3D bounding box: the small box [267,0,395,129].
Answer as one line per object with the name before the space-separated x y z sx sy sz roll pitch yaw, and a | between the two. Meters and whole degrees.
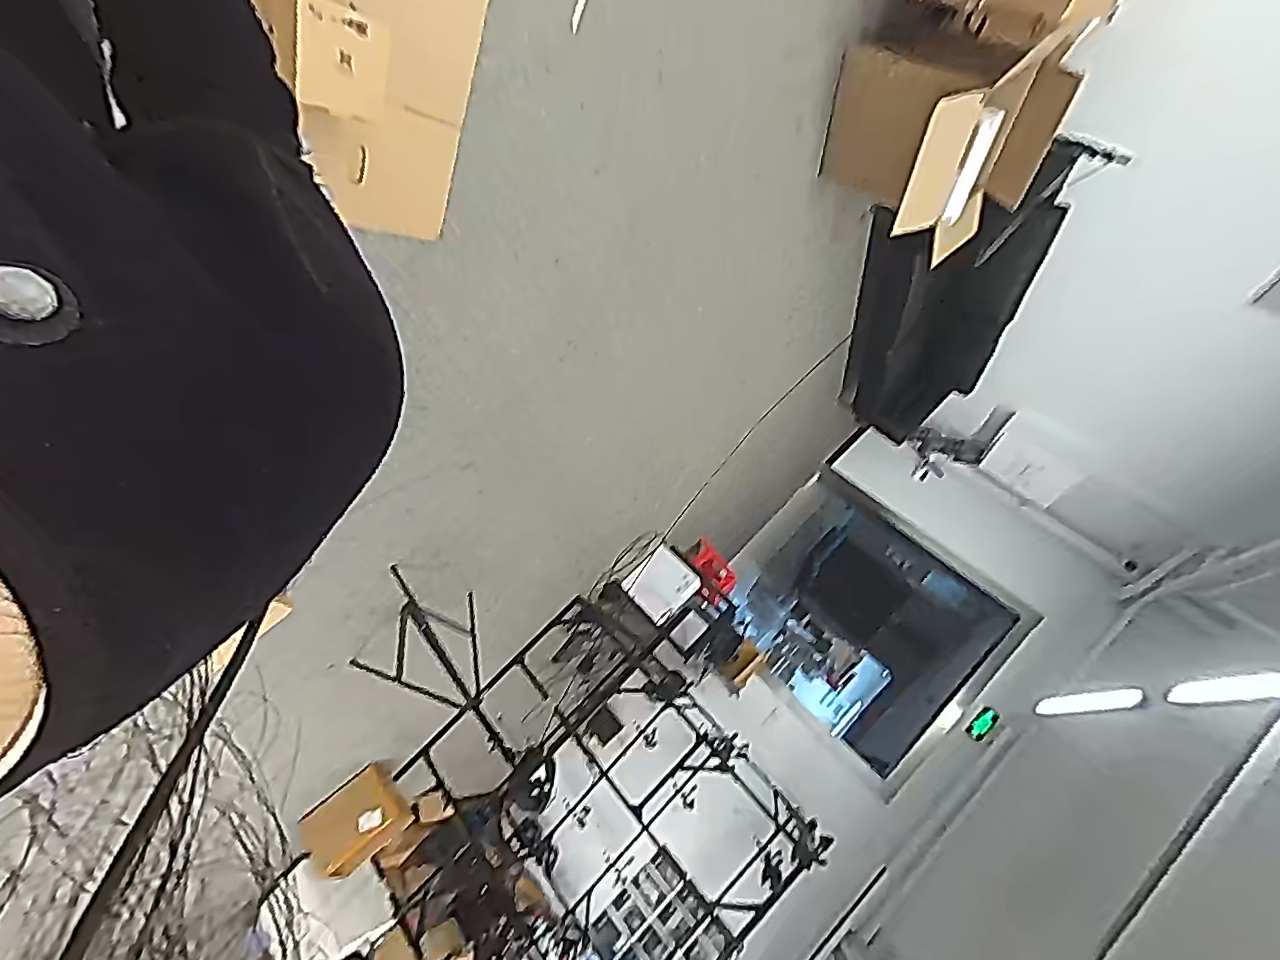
small box | -0.611 -0.837 1.063 0.168 0.176 0.179 -15 141 -47
